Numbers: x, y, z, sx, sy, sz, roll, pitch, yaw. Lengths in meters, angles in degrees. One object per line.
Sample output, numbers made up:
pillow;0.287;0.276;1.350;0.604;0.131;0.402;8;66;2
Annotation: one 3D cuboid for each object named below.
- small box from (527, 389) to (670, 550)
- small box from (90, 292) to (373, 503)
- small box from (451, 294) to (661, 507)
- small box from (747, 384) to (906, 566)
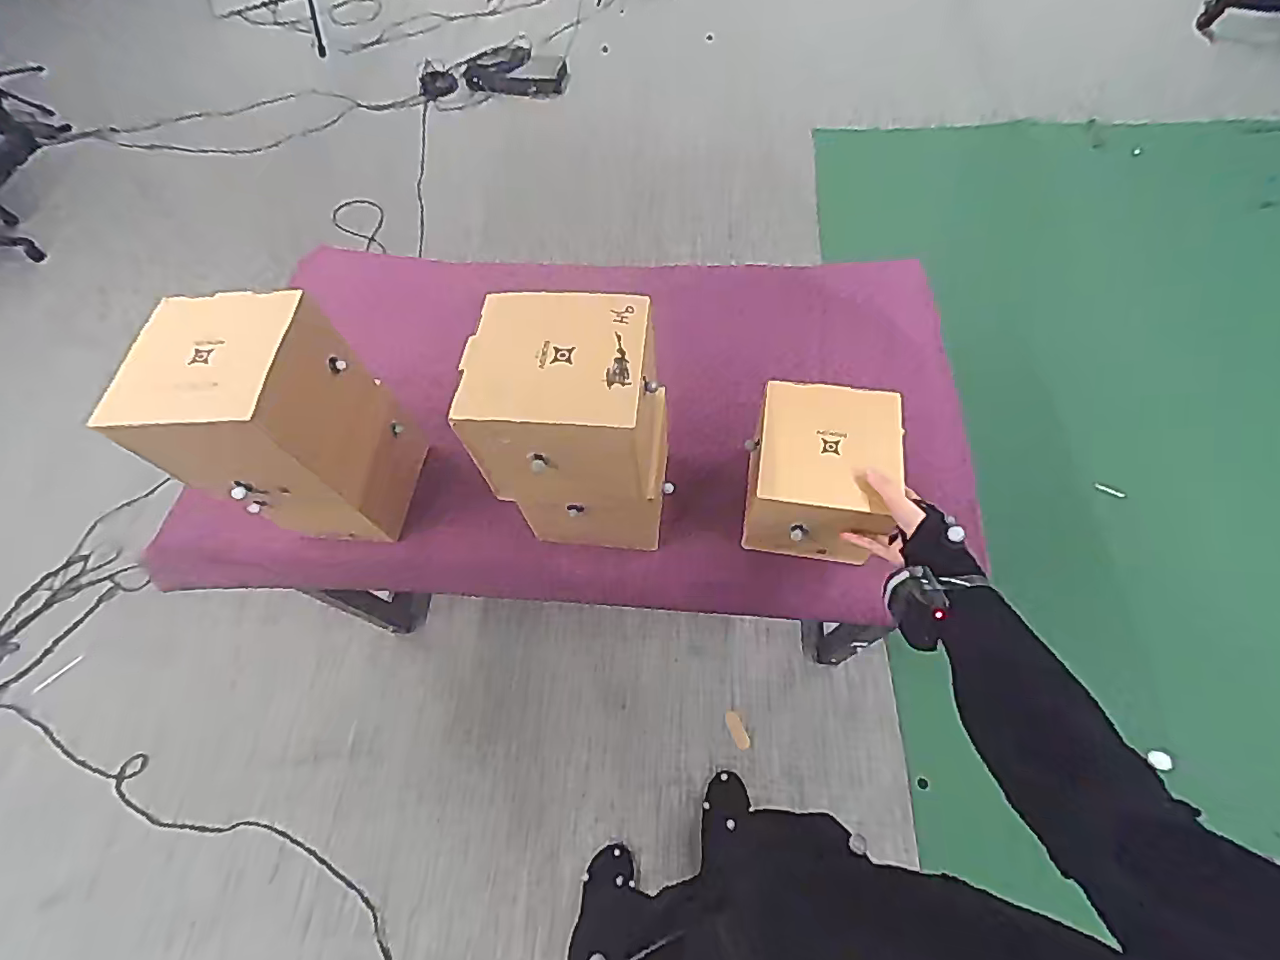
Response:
small box;-0.054;-0.014;0.739;0.179;0.176;0.168;5;62;5
small box;-0.434;-0.089;0.617;0.168;0.176;0.179;-1;61;3
small box;-0.073;-0.080;0.589;0.179;0.176;0.168;3;62;6
small box;0.236;-0.001;0.714;0.168;0.176;0.179;7;62;9
